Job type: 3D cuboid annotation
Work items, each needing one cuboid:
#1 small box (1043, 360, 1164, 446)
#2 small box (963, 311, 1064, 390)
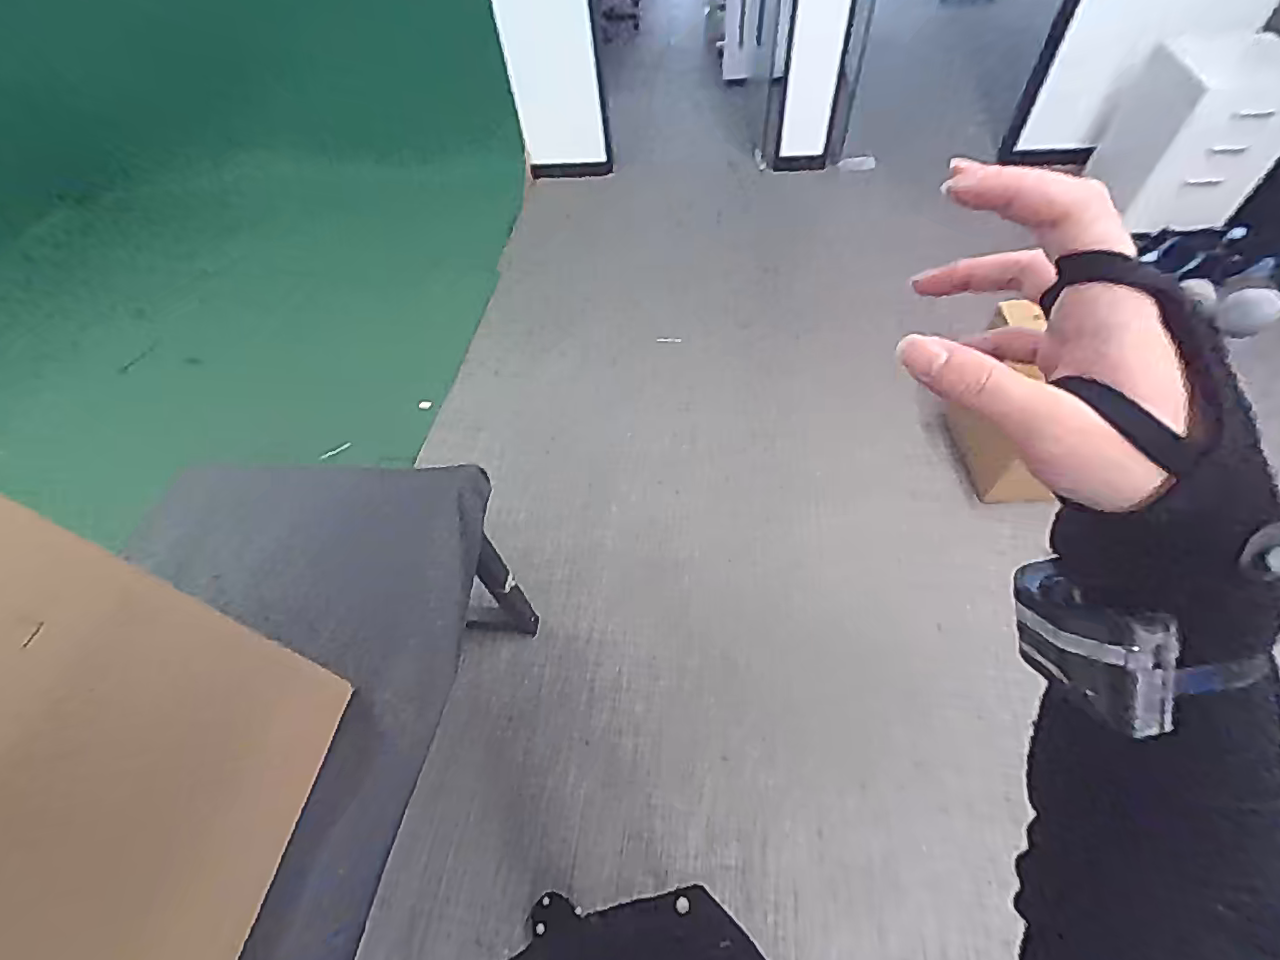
[{"bbox_3d":[1.252,-0.209,1.483,0.179,0.176,0.168,3,54,5],"label":"small box"},{"bbox_3d":[1.112,-0.387,1.625,0.179,0.176,0.168,-1,53,7],"label":"small box"}]
